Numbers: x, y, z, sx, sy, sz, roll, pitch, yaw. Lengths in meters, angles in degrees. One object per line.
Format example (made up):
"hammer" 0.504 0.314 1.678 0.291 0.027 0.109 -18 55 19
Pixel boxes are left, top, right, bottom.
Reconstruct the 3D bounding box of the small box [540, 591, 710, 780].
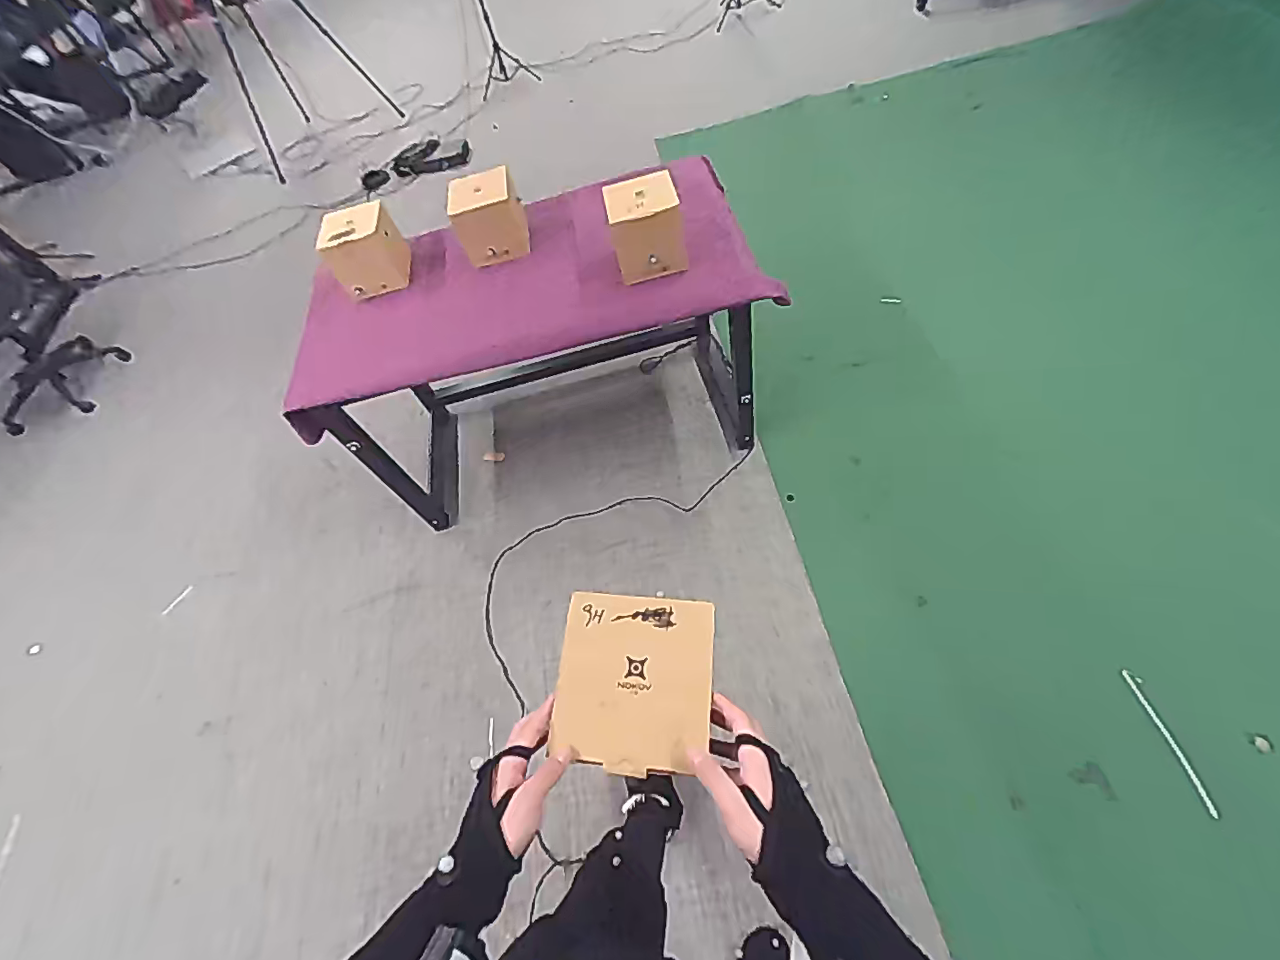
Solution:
"small box" -0.005 0.246 0.645 0.168 0.176 0.179 4 63 7

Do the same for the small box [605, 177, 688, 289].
"small box" 0.016 -0.605 1.331 0.168 0.176 0.179 -13 54 5

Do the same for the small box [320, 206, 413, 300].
"small box" -0.758 -0.629 1.519 0.168 0.176 0.179 -14 55 2

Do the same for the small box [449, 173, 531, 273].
"small box" -0.409 -0.709 1.499 0.168 0.176 0.179 -14 56 4
